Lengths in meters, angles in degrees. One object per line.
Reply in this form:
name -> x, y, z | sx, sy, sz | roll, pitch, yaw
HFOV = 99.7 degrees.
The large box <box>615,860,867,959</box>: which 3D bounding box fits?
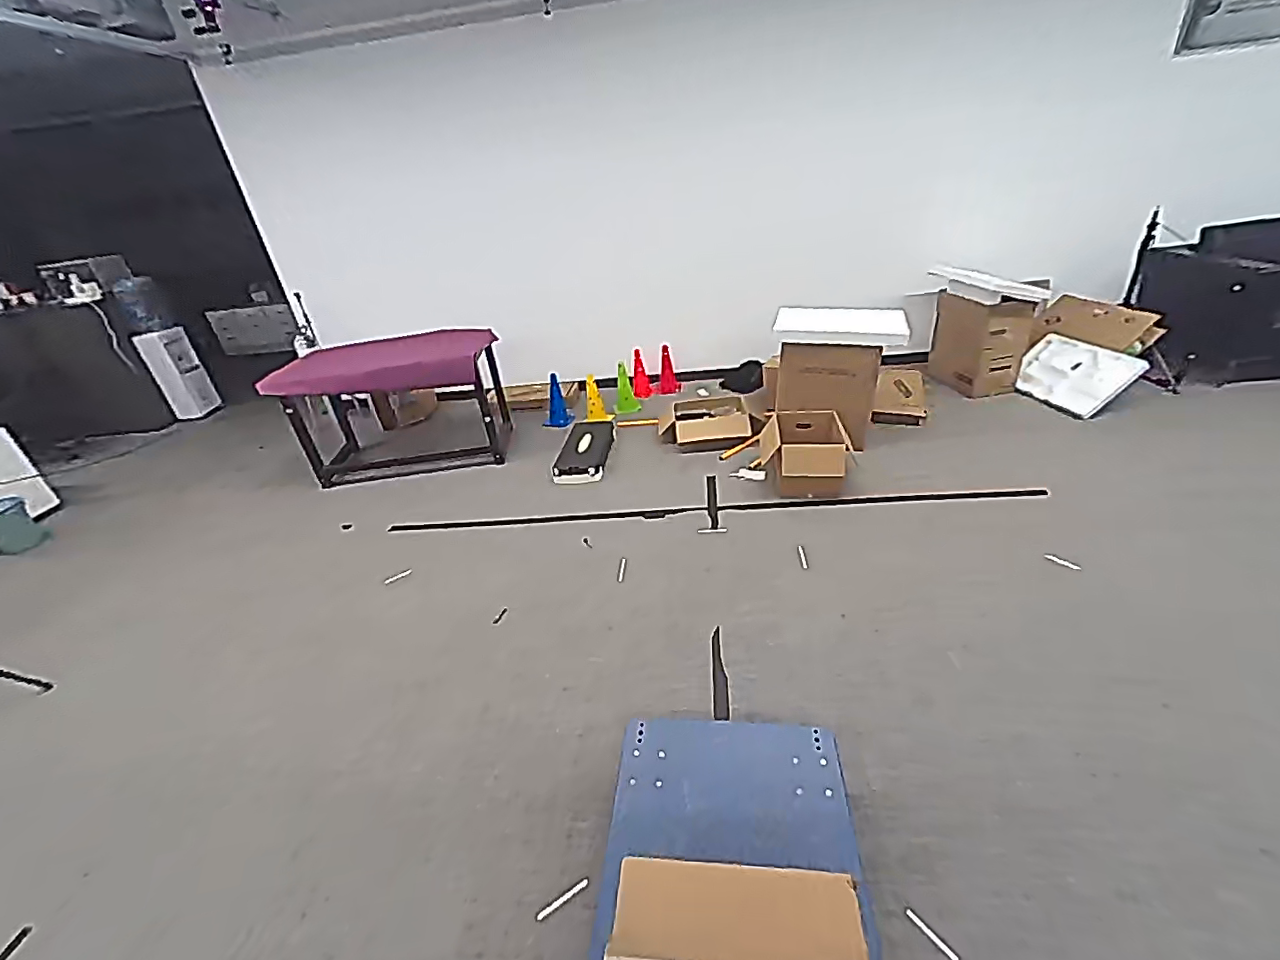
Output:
large box -> 0.166, 0.898, 0.913 | 0.408, 0.320, 0.320 | -1, 31, 8
